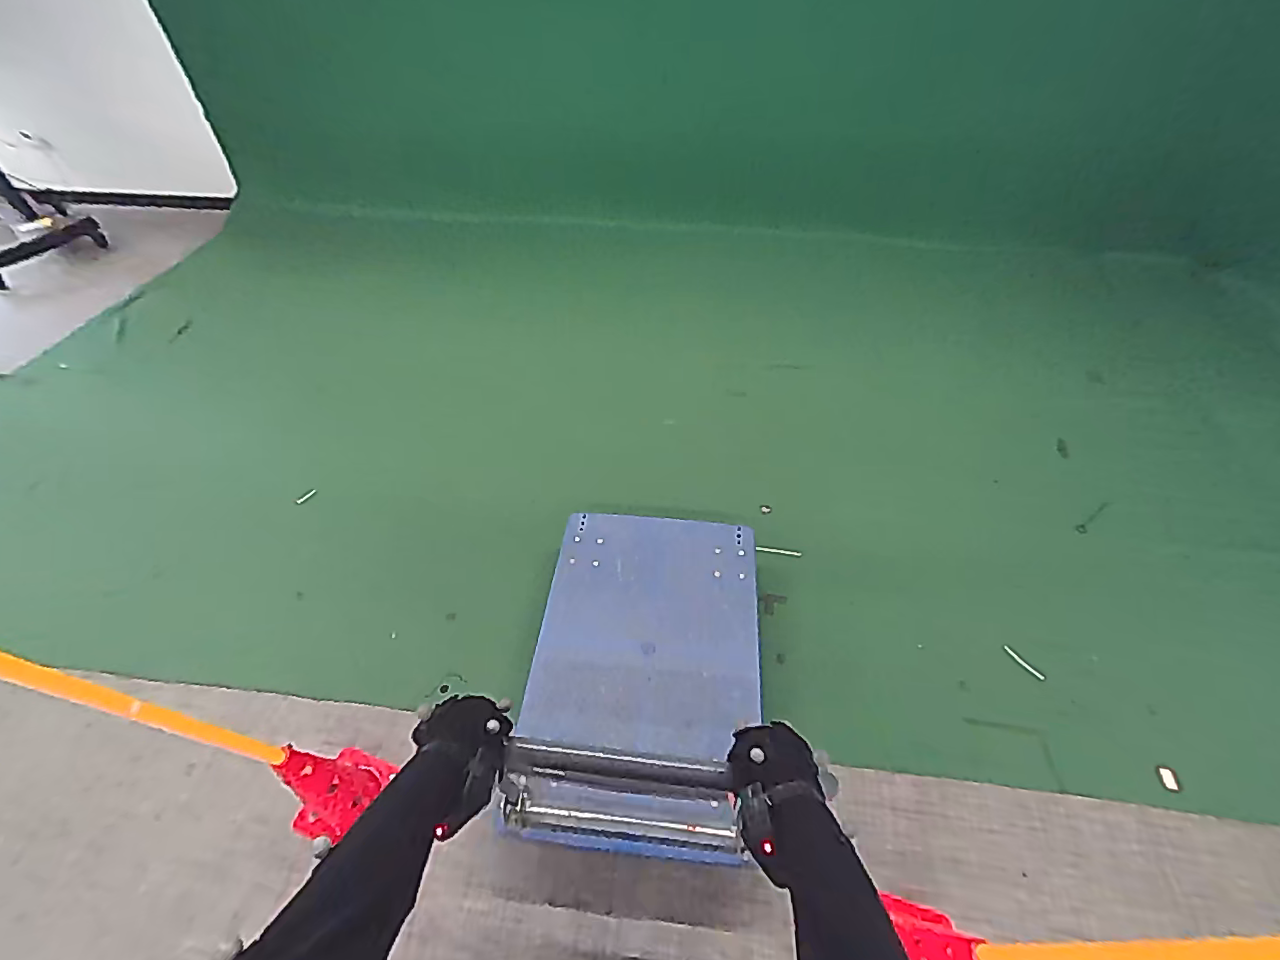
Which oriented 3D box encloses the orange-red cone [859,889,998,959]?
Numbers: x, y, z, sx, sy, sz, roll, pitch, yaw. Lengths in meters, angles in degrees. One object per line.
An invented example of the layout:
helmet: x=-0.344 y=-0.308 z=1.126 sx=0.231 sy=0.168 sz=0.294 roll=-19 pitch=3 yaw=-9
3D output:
orange-red cone: x=0.554 y=0.874 z=0.990 sx=0.198 sy=0.360 sz=0.199 roll=13 pitch=49 yaw=12
